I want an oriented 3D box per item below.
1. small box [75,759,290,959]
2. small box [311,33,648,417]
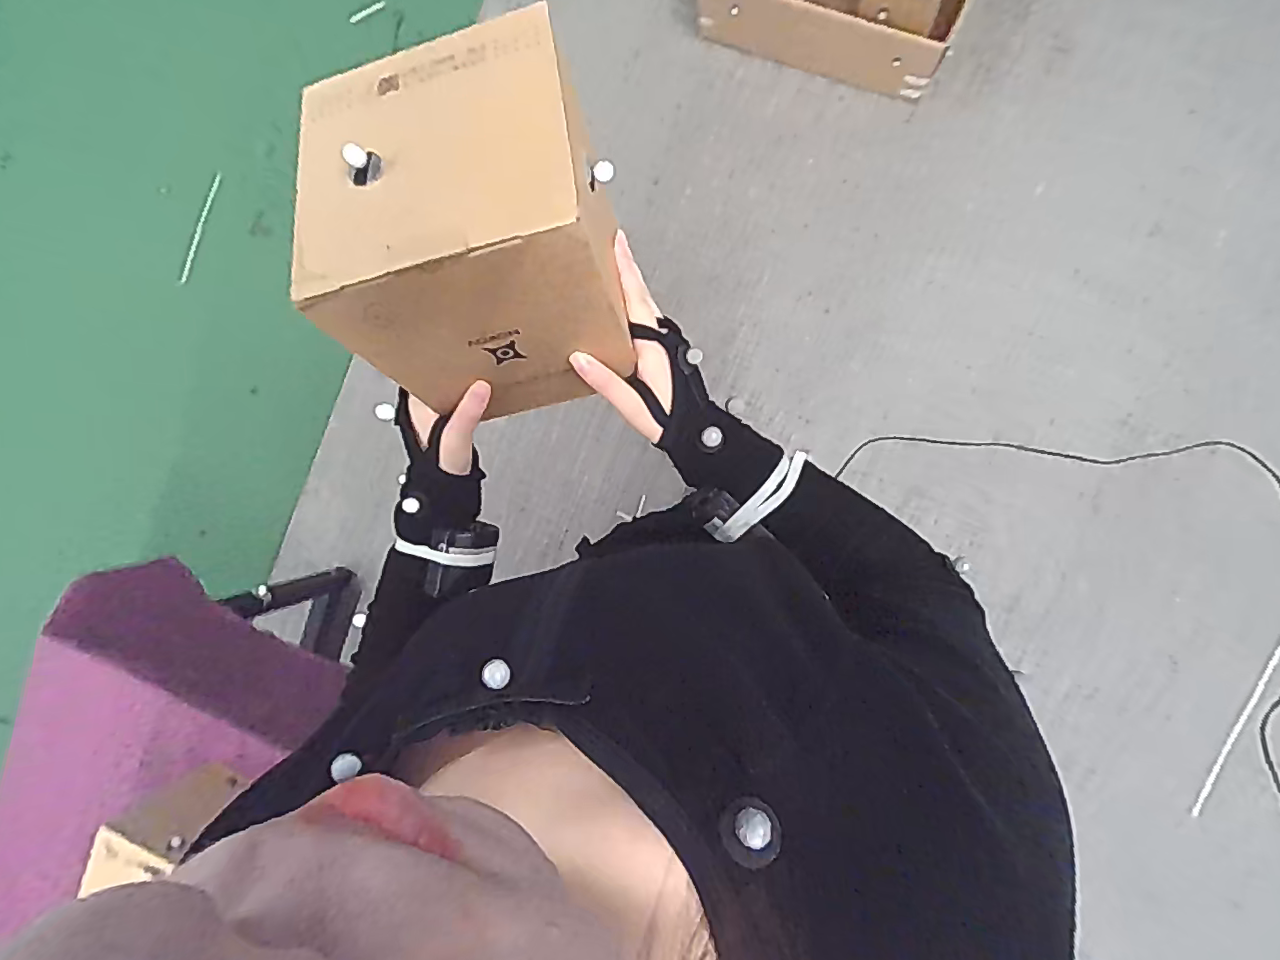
[{"bbox_3d":[-0.674,0.570,0.815,0.168,0.176,0.179,21,96,7],"label":"small box"},{"bbox_3d":[-0.098,-0.169,0.386,0.168,0.179,0.176,-10,72,8],"label":"small box"}]
